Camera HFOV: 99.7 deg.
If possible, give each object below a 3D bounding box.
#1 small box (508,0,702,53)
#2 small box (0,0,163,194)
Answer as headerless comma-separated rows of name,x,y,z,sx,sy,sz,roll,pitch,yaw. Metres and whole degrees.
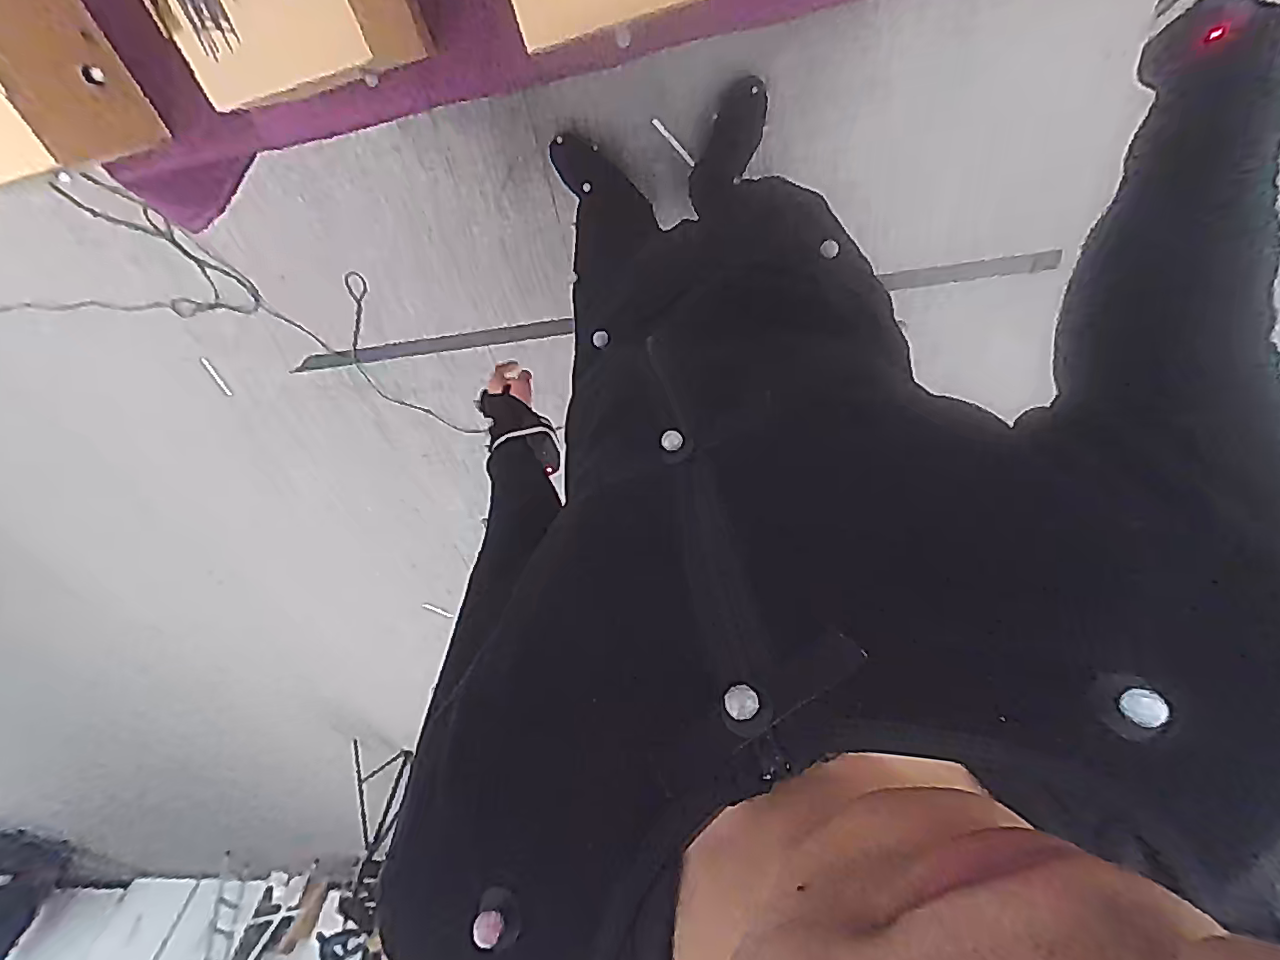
small box,-0.039,-0.504,0.471,0.168,0.176,0.179,-9,130,12
small box,-0.699,-0.423,0.590,0.179,0.176,0.168,-10,128,11
